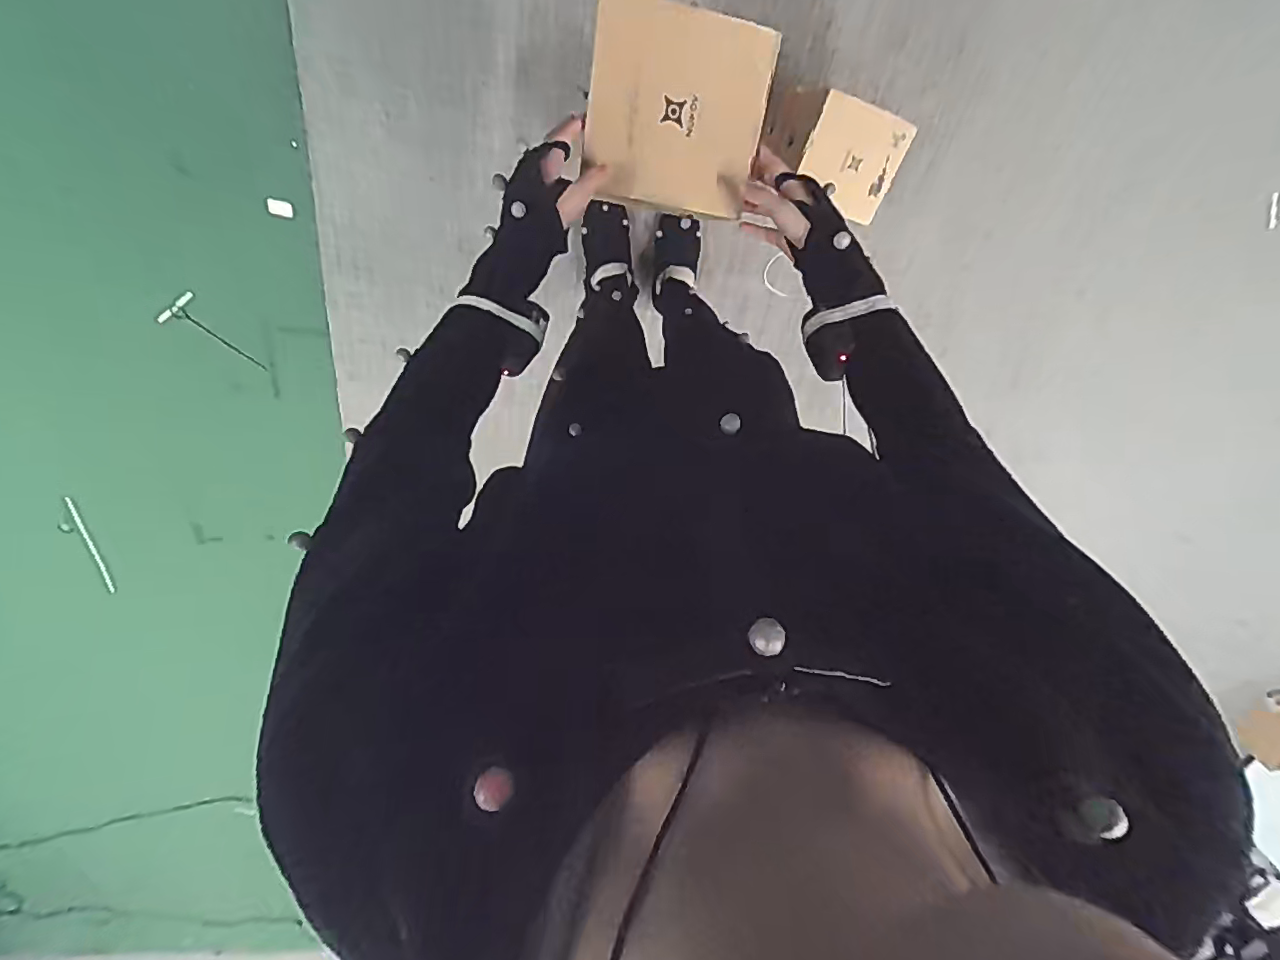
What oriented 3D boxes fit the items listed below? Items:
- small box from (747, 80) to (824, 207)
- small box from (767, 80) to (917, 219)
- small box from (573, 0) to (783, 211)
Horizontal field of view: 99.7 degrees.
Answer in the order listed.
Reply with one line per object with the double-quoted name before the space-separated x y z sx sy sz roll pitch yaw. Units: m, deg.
"small box" 0.331 -0.700 1.131 0.168 0.176 0.179 14 122 -13
"small box" 0.357 -0.605 0.999 0.179 0.176 0.168 14 121 -12
"small box" 0.025 -0.401 0.588 0.179 0.176 0.168 7 114 -10
